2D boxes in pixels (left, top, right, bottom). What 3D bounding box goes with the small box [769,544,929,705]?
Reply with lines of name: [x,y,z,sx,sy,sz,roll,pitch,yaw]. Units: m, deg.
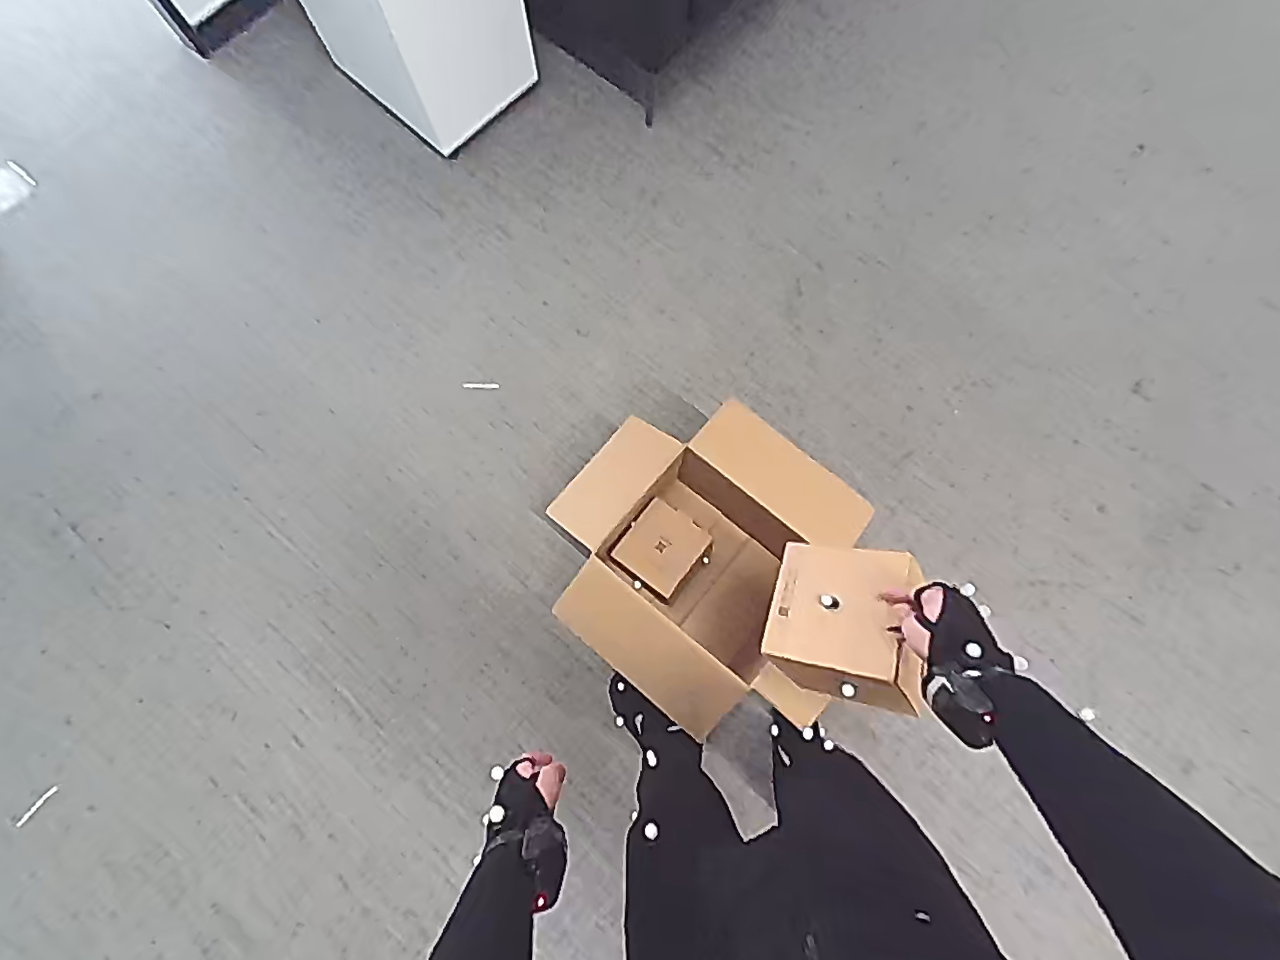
small box: [0.295,0.197,0.756,0.176,0.179,0.168,-1,60,36]
